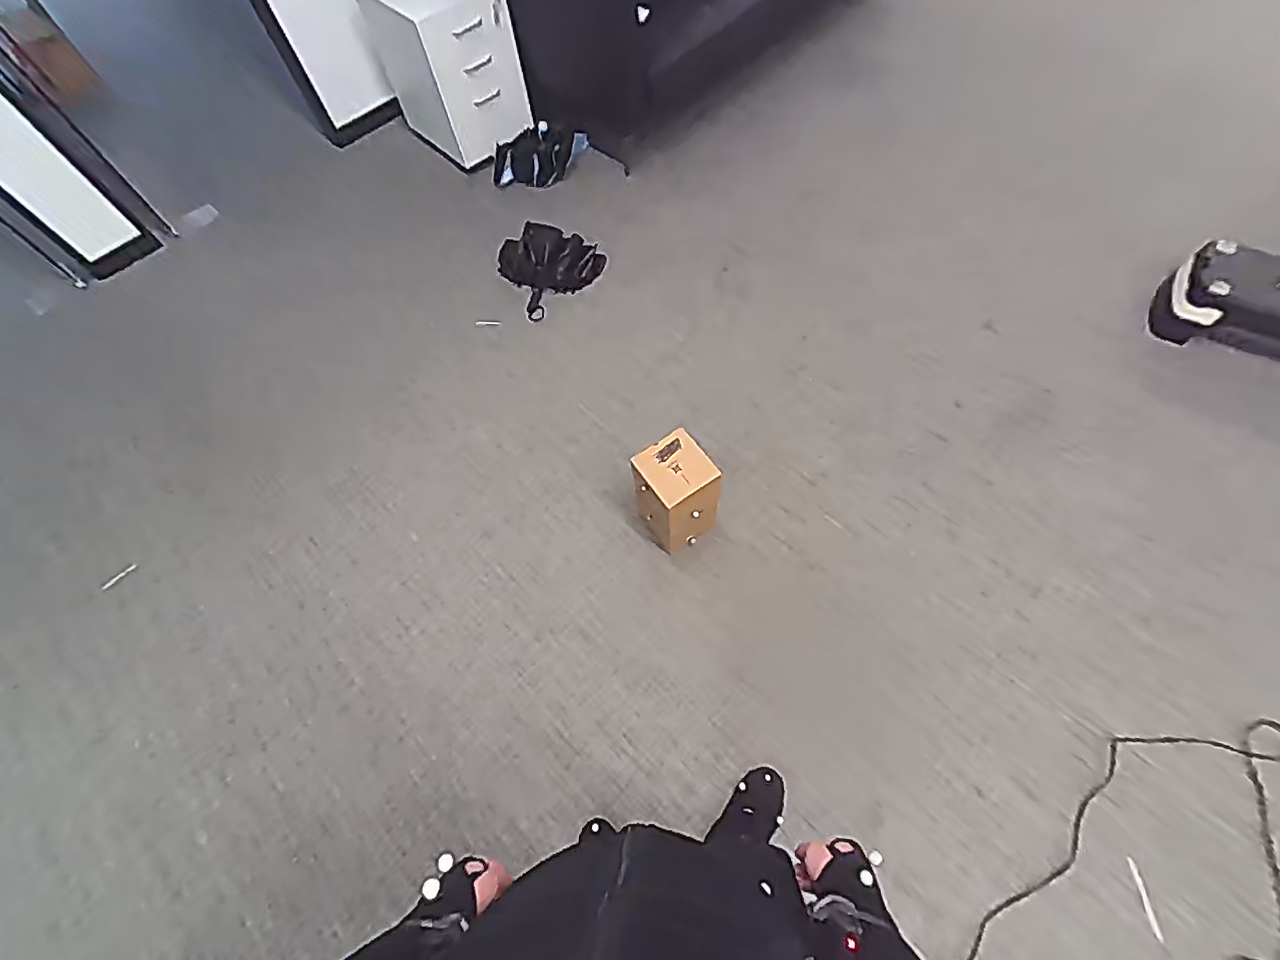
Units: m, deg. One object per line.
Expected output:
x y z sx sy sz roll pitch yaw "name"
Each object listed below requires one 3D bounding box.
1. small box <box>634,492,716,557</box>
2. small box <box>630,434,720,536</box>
0.100 0.095 1.579 0.168 0.176 0.179 -33 66 -12 "small box"
0.091 0.018 1.434 0.168 0.176 0.179 -32 65 -11 "small box"
